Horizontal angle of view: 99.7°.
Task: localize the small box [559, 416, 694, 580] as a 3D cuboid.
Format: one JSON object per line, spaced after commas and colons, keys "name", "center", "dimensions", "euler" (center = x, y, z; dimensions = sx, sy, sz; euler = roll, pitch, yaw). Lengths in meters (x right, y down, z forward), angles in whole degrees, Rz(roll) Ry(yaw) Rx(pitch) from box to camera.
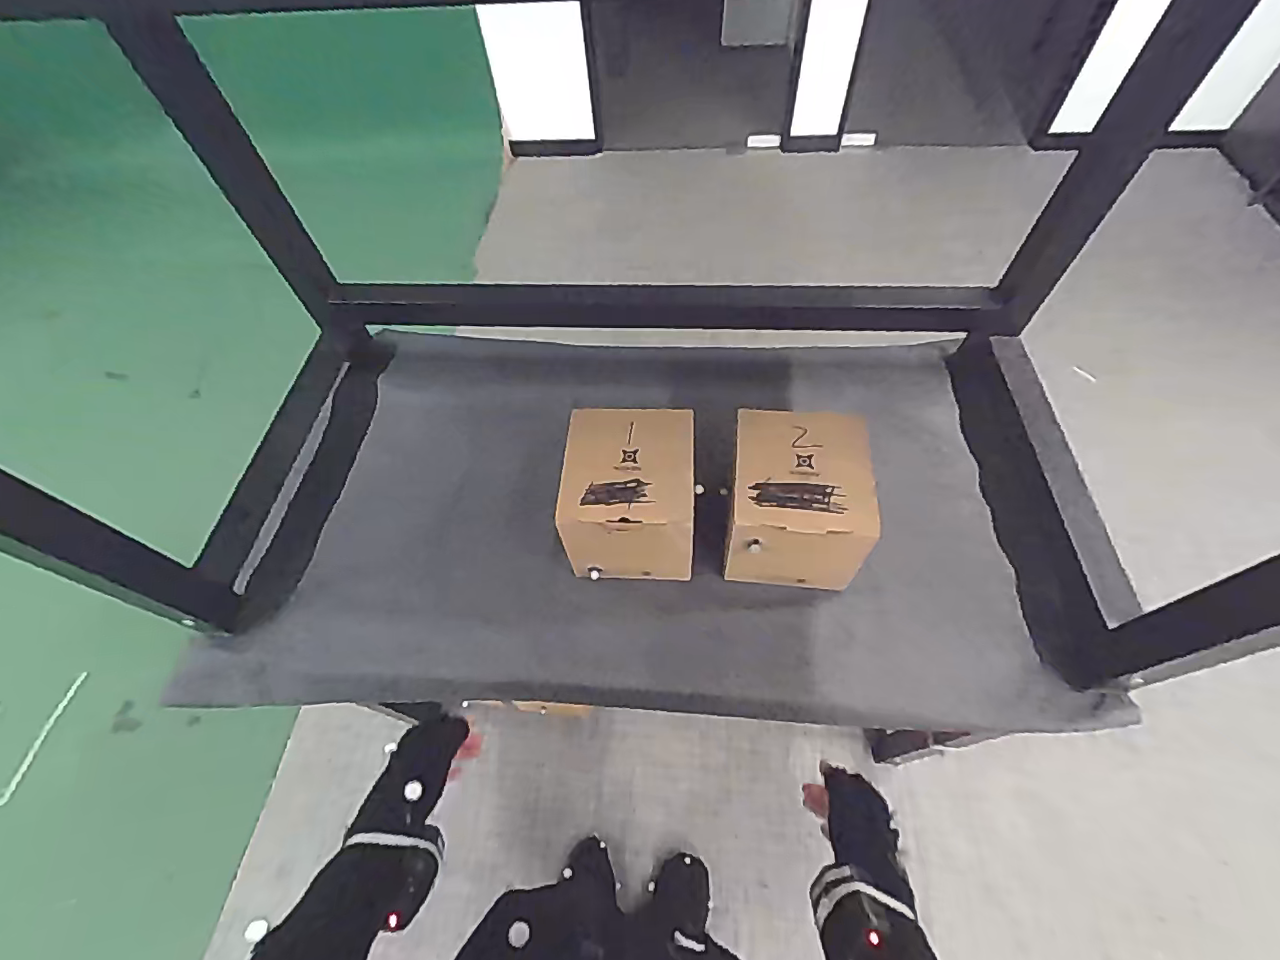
{"name": "small box", "center": [-0.008, 0.030, 0.762], "dimensions": [0.168, 0.176, 0.179], "euler": [2, 56, 4]}
